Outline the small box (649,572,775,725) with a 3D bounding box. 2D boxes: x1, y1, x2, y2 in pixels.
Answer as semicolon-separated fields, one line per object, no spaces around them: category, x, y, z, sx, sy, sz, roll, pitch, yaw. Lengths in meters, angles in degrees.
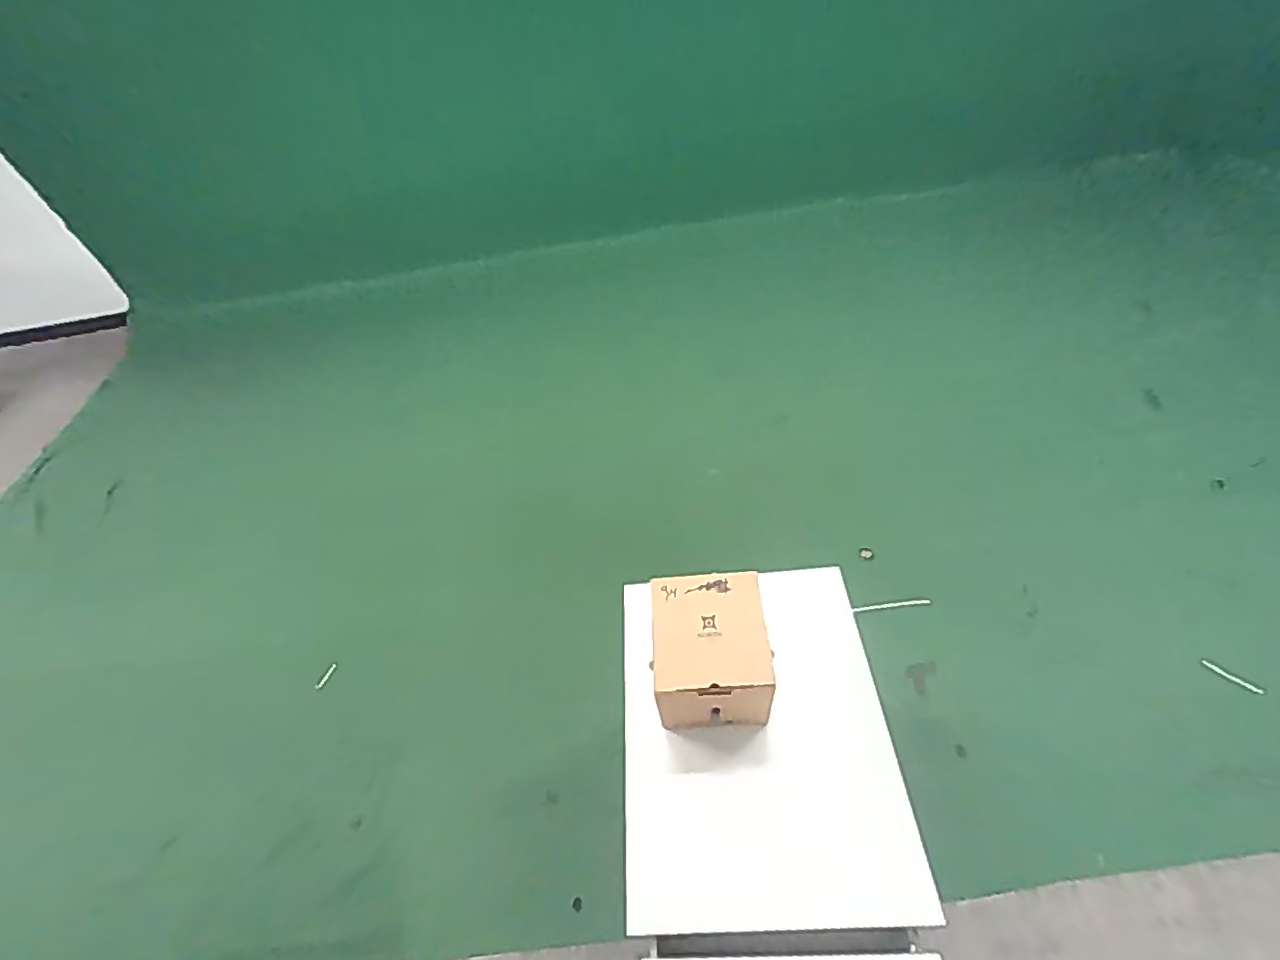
small box;0.106;0.261;0.819;0.168;0.176;0.179;-5;51;4
